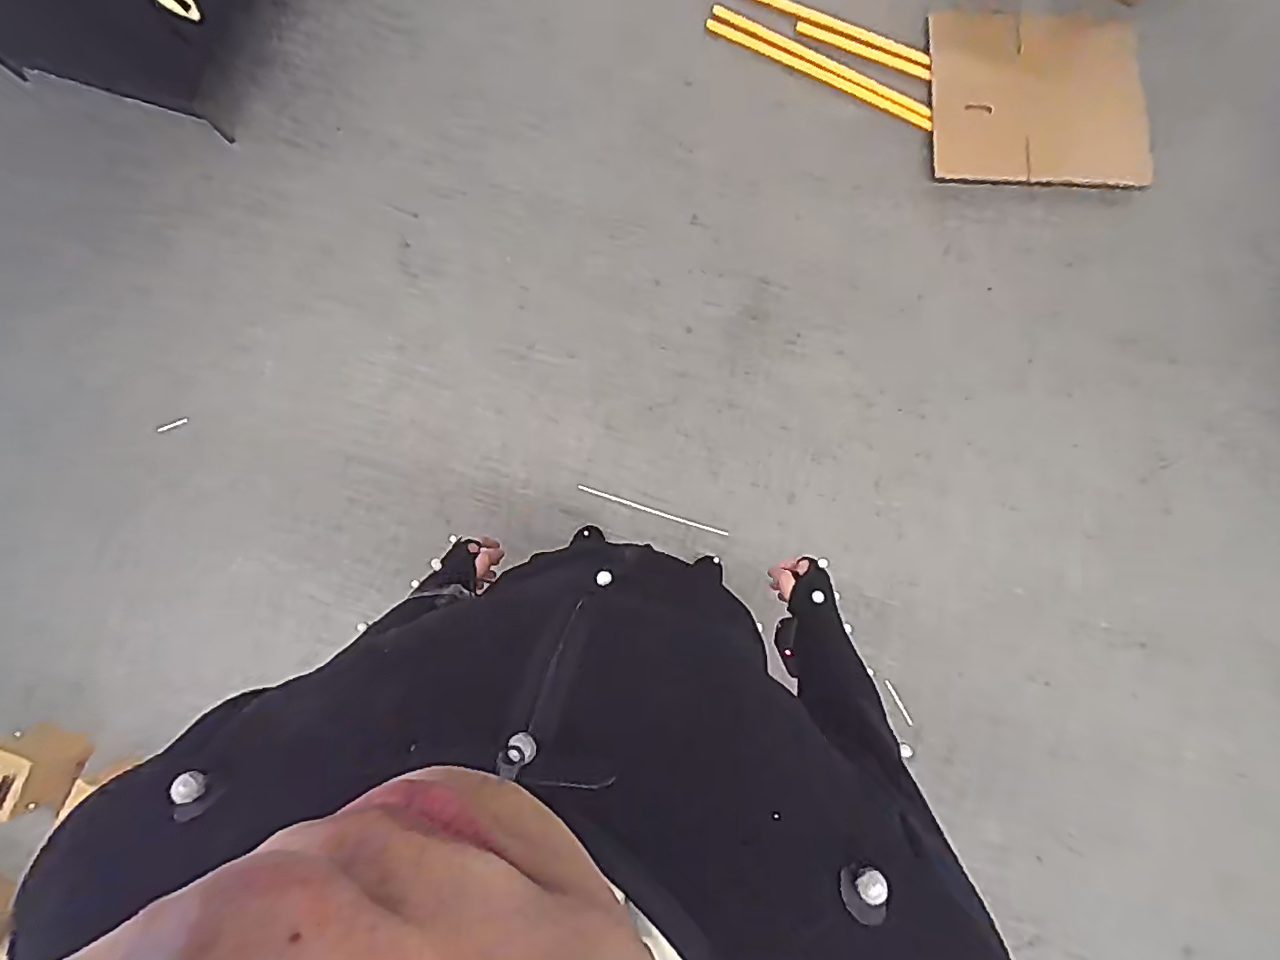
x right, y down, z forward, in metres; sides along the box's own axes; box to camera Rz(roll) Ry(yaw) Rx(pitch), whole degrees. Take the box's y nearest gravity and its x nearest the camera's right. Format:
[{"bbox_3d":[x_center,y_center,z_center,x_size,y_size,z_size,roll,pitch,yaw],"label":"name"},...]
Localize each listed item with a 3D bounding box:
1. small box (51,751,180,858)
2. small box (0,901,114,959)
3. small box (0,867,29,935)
[{"bbox_3d":[-1.459,0.902,1.519,0.168,0.176,0.179,21,84,4],"label":"small box"},{"bbox_3d":[-1.619,1.303,1.475,0.179,0.176,0.168,20,85,4],"label":"small box"},{"bbox_3d":[-1.879,1.208,1.493,0.179,0.176,0.168,20,84,4],"label":"small box"}]
